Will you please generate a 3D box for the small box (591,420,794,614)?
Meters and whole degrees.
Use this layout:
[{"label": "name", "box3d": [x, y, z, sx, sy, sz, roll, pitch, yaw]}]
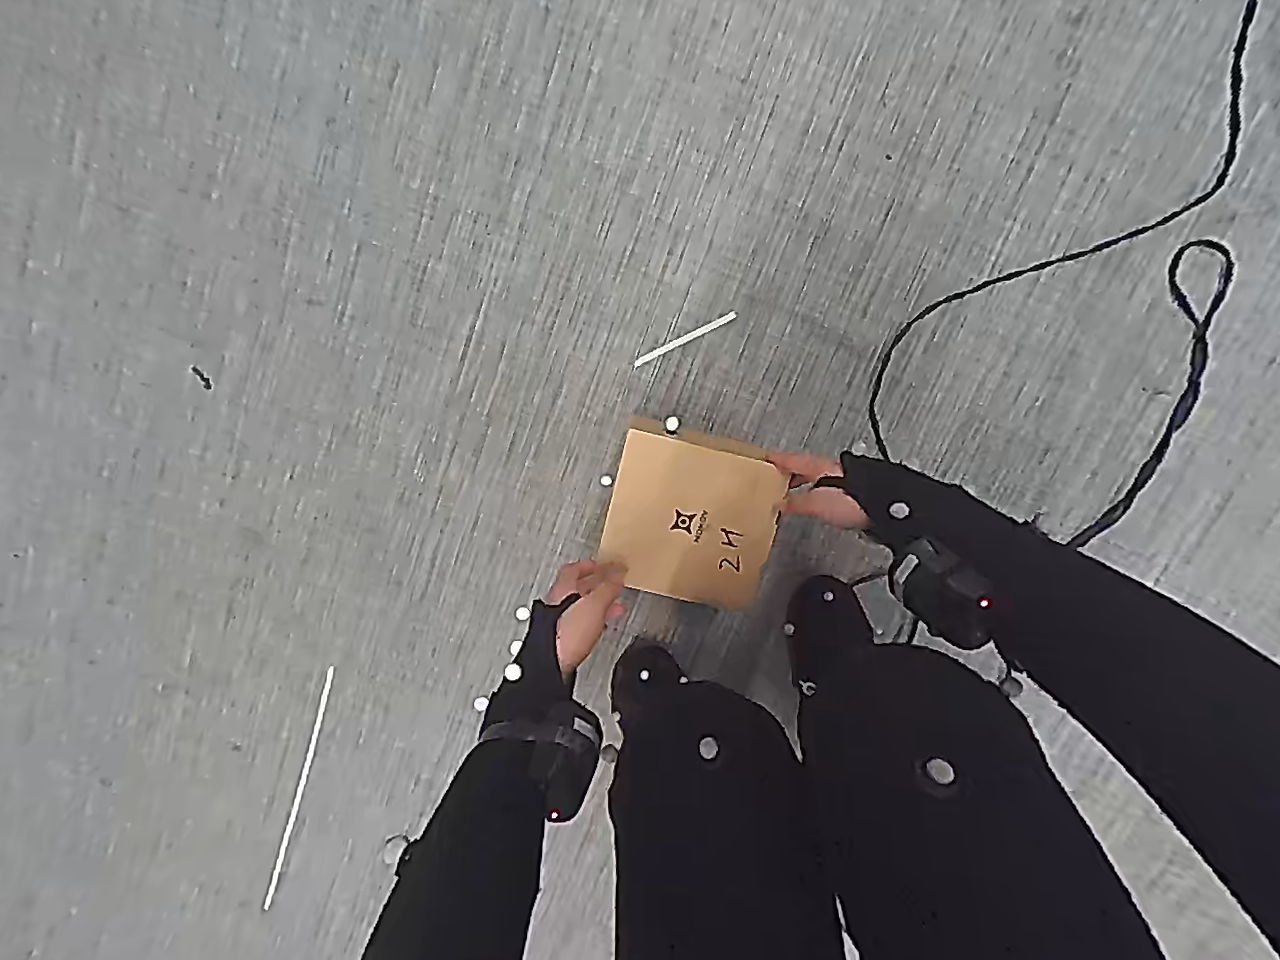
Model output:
[{"label": "small box", "box3d": [0.052, 0.030, 0.634, 0.179, 0.176, 0.168, 14, 102, -3]}]
